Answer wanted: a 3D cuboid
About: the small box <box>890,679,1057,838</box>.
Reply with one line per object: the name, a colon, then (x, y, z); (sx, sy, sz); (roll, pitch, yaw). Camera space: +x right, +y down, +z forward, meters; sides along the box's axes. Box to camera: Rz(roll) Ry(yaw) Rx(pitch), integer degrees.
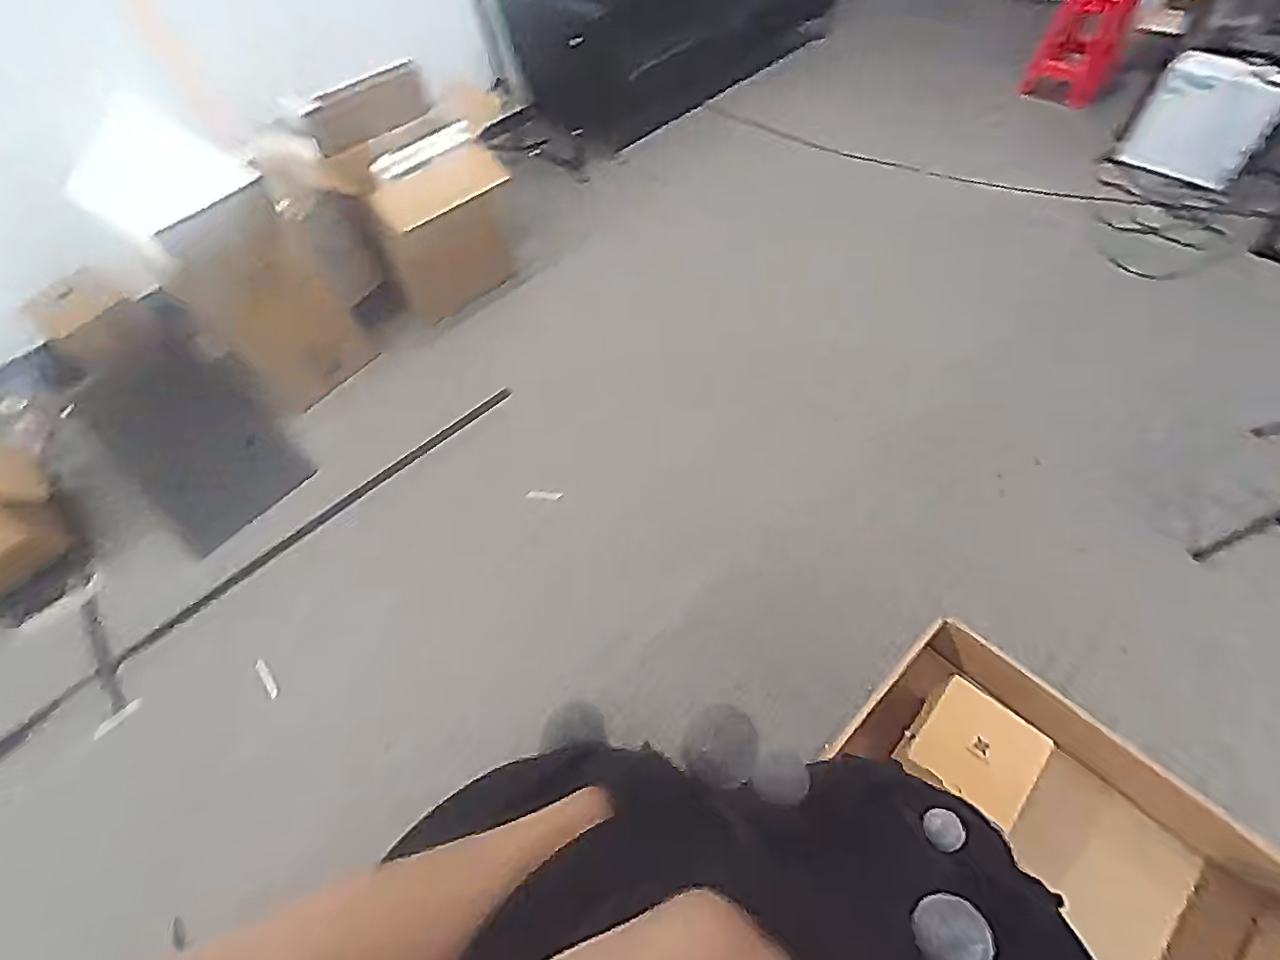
small box: (0.568, 0.487, 0.945); (0.168, 0.176, 0.179); (36, 67, 27)
